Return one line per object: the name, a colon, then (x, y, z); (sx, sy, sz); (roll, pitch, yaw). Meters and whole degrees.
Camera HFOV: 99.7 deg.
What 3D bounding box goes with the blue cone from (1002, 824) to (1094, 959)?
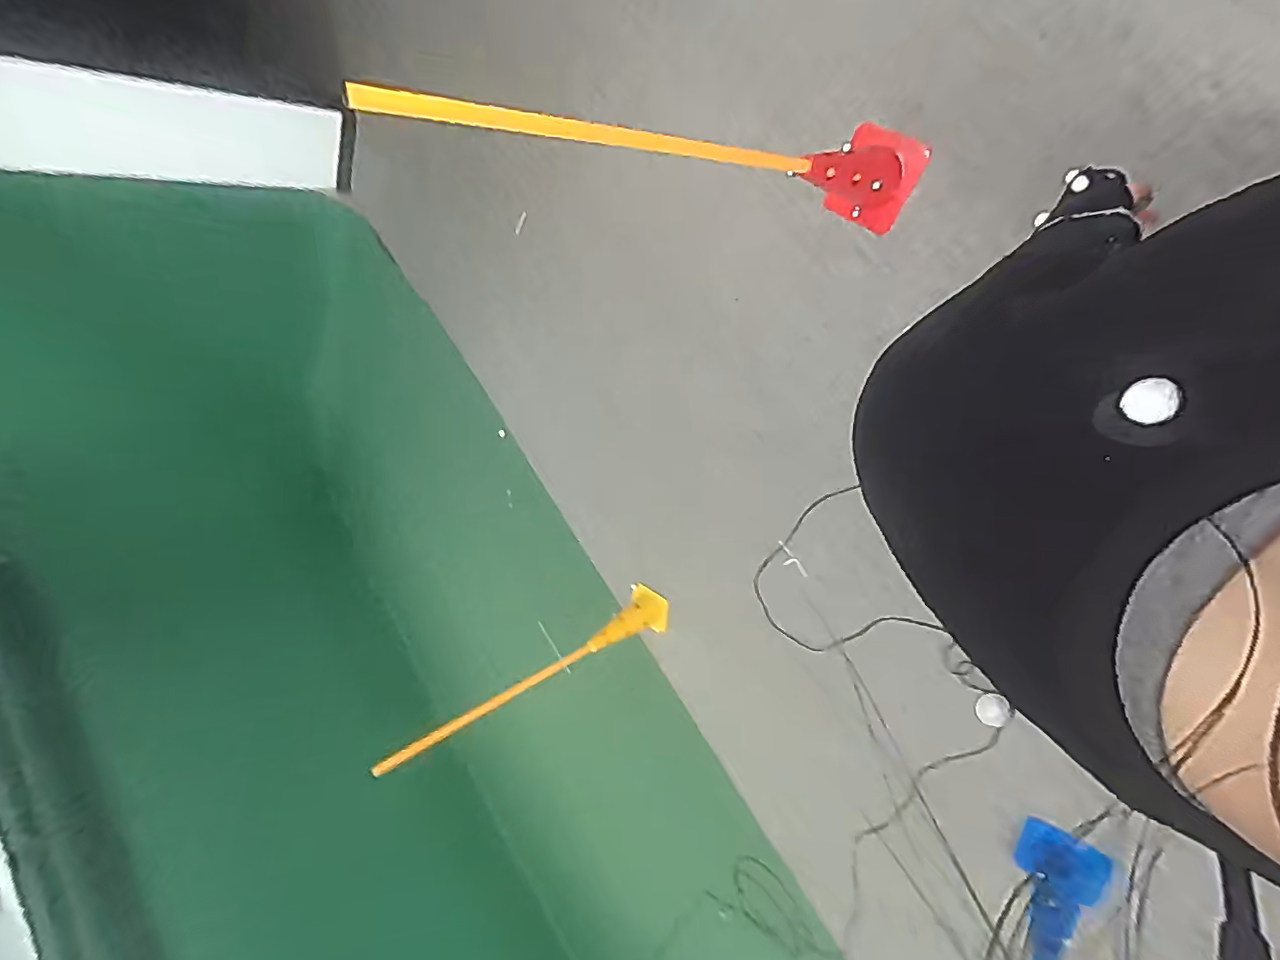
blue cone: (1.022, 1.105, 1.382); (0.193, 0.380, 0.192); (15, 116, 37)
